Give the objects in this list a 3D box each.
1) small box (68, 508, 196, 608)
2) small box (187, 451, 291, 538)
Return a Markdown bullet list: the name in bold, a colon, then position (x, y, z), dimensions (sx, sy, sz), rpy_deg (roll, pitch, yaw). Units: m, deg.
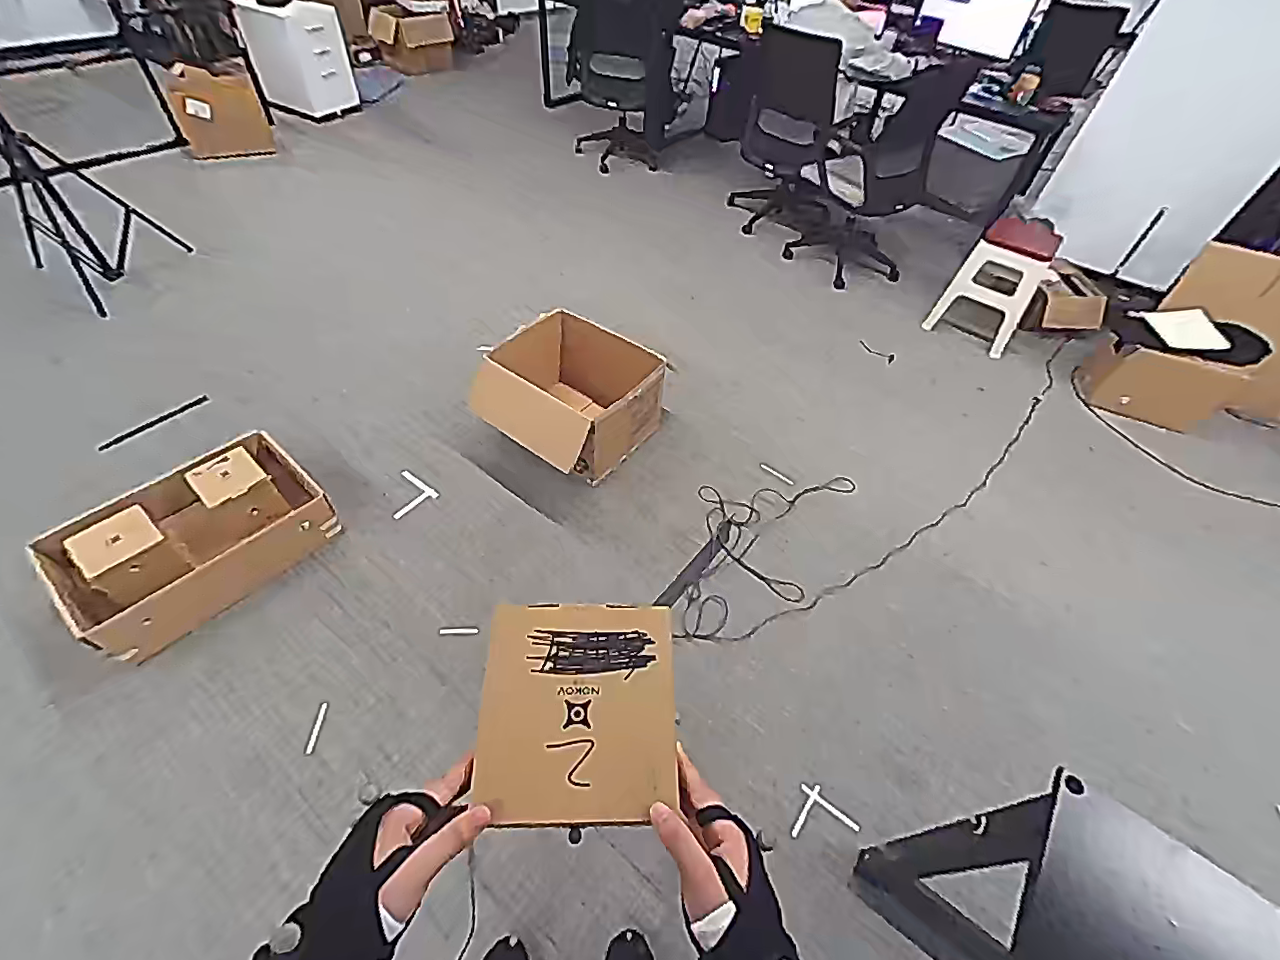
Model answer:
- **small box**: position (-1.387, 0.220, 1.488), dimensions (0.168, 0.176, 0.179), rpy_deg (35, 54, 20)
- **small box**: position (-1.212, 0.052, 1.646), dimensions (0.179, 0.176, 0.168), rpy_deg (38, 57, 22)
